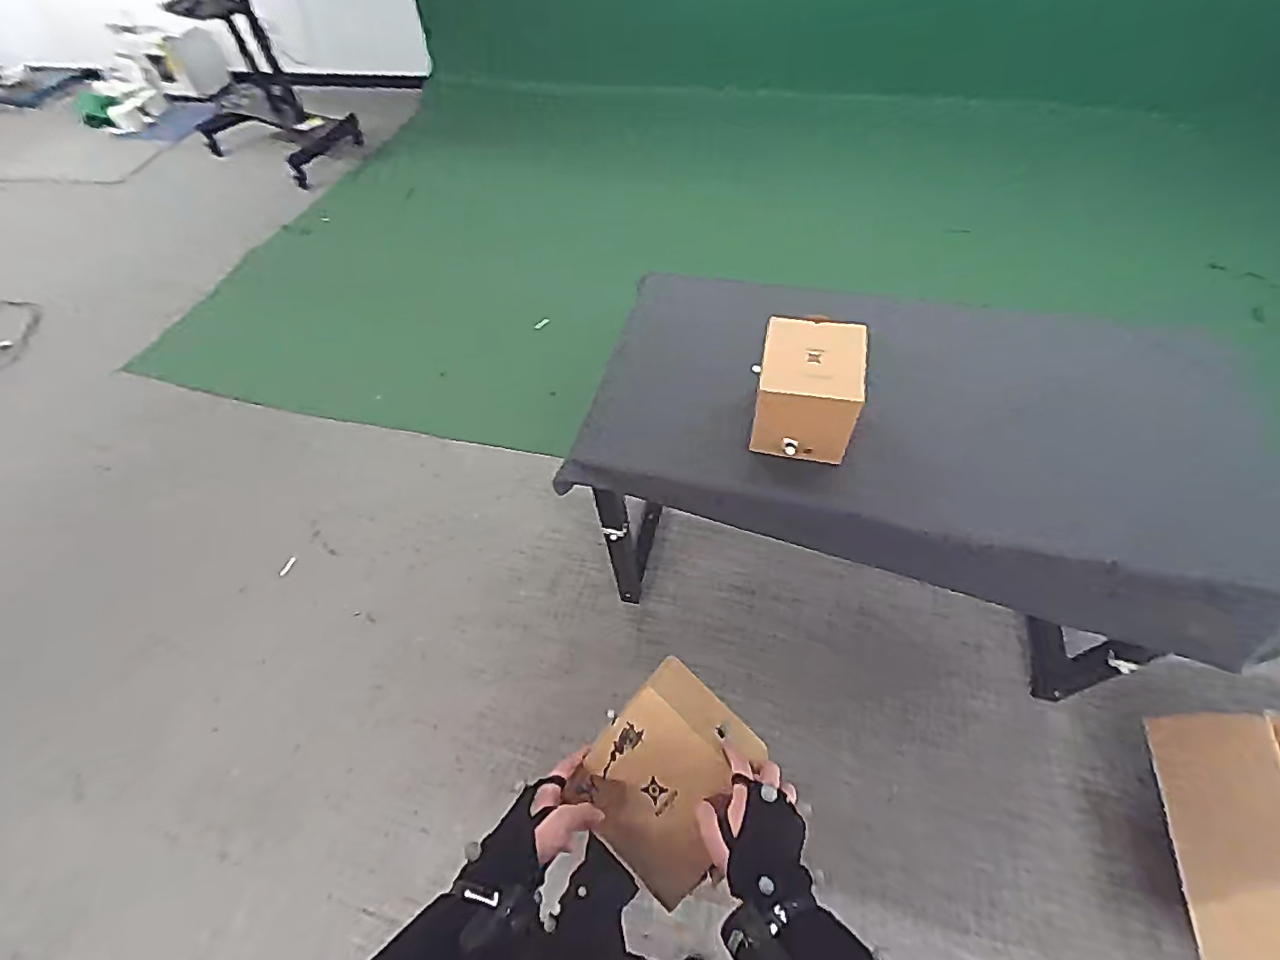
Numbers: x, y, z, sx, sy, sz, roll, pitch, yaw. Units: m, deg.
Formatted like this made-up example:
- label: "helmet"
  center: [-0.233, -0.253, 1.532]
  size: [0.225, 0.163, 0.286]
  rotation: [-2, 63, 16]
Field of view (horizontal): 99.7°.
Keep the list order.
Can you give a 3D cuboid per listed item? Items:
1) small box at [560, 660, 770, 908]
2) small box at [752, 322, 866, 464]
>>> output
- label: "small box"
  center: [0.039, 0.350, 0.665]
  size: [0.179, 0.176, 0.168]
  rotation: [42, 92, 13]
- label: "small box"
  center: [0.297, -0.154, 0.968]
  size: [0.168, 0.176, 0.179]
  rotation: [8, 56, 10]
